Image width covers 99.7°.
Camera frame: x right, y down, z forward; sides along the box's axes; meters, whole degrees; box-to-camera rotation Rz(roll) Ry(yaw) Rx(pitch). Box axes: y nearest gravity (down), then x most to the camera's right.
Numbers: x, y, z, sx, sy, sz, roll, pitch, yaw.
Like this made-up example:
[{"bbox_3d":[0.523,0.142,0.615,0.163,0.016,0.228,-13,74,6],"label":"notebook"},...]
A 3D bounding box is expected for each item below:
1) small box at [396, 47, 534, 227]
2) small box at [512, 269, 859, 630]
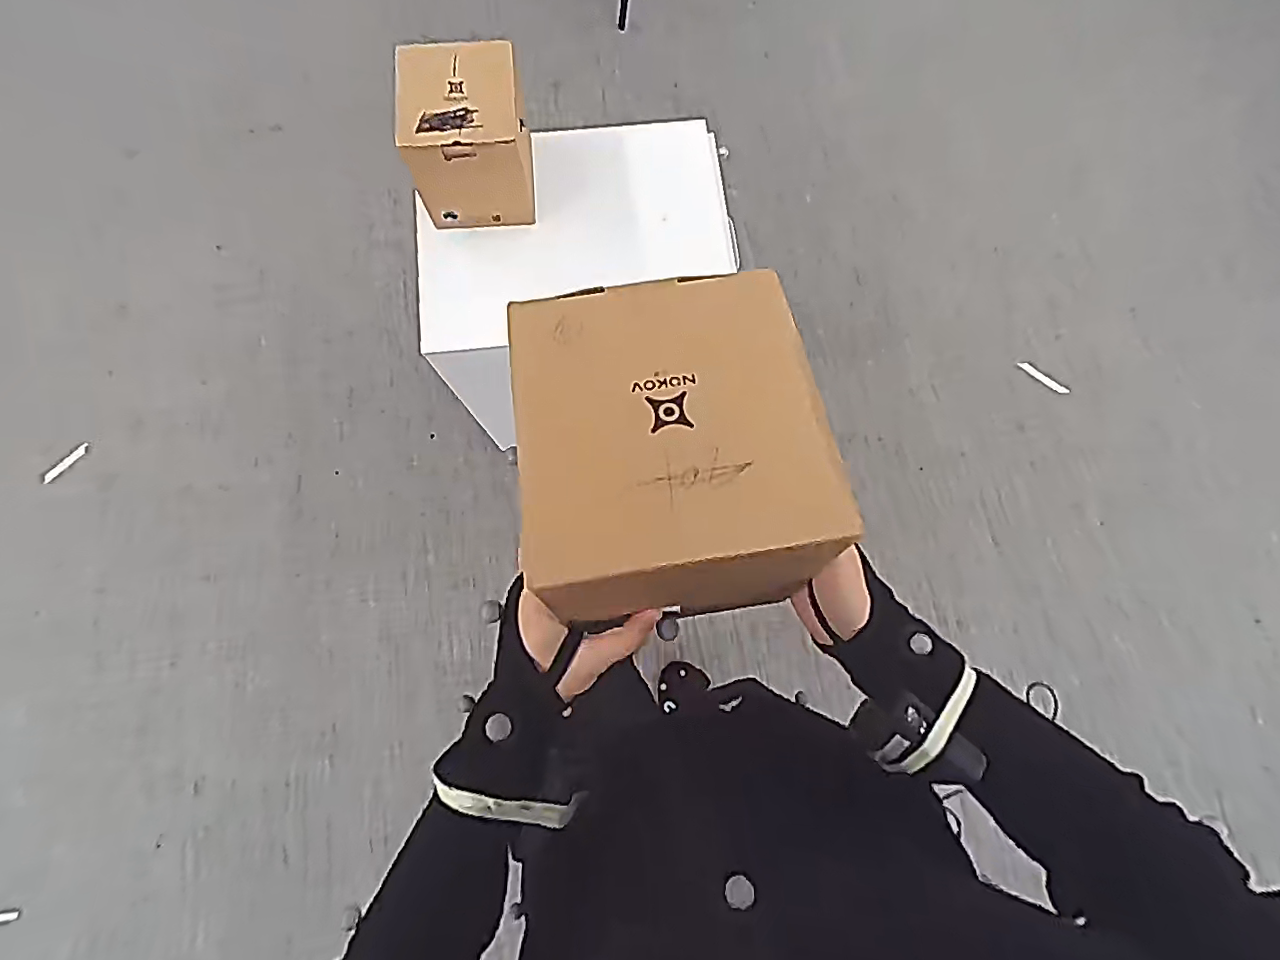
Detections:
[{"bbox_3d":[-0.259,-0.512,0.830,0.168,0.176,0.179,-5,77,-3],"label":"small box"},{"bbox_3d":[0.015,-0.009,0.364,0.168,0.176,0.179,-8,67,-3],"label":"small box"}]
